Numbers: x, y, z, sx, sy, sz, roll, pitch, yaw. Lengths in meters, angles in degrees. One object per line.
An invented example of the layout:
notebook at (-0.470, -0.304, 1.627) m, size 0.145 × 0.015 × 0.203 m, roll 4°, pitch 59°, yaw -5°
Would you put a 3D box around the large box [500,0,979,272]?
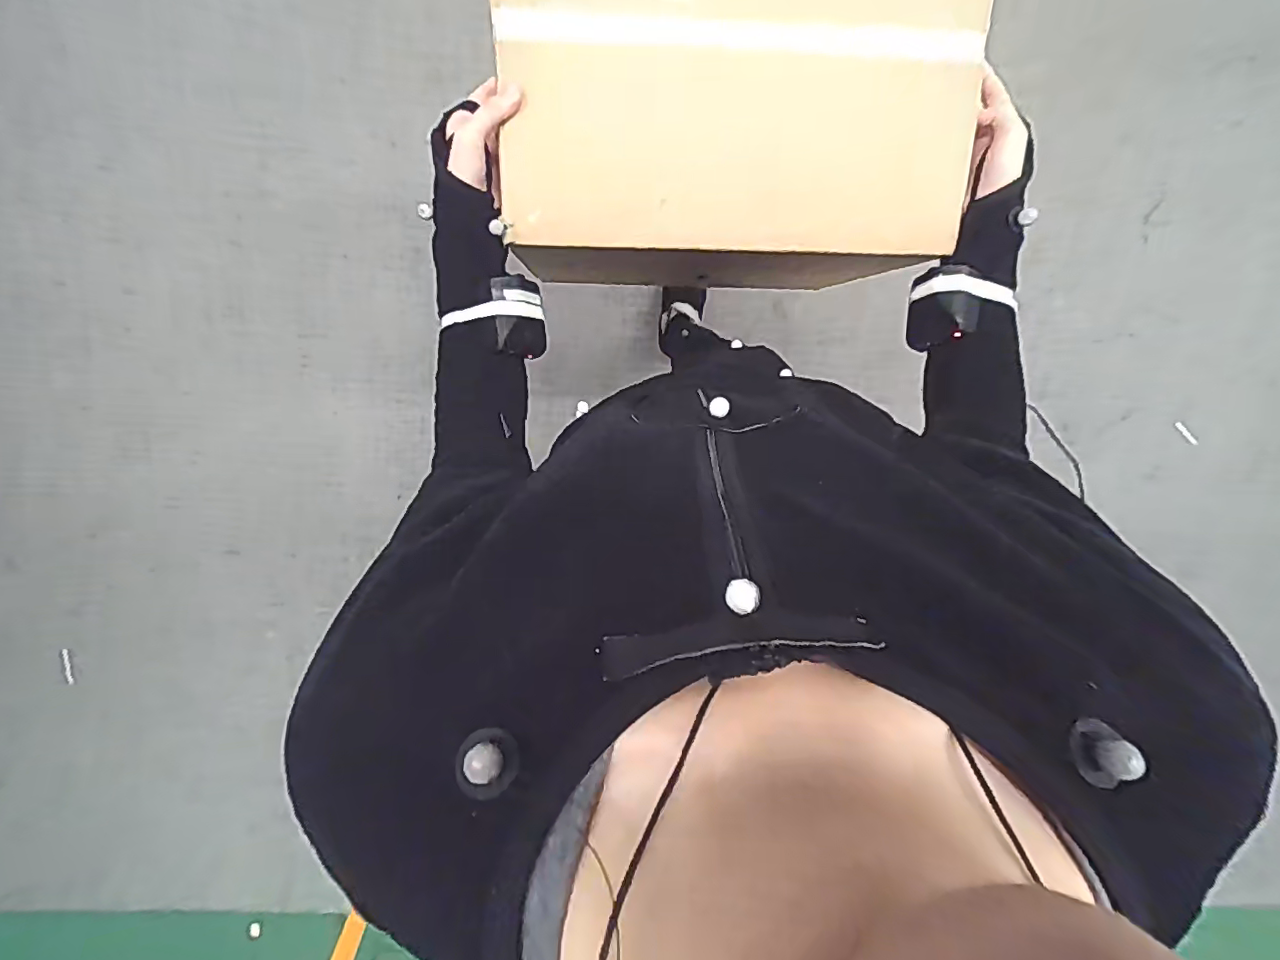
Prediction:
large box at (0.078, -0.406, 0.593) m, size 0.408 × 0.320 × 0.320 m, roll 0°, pitch 104°, yaw -3°
